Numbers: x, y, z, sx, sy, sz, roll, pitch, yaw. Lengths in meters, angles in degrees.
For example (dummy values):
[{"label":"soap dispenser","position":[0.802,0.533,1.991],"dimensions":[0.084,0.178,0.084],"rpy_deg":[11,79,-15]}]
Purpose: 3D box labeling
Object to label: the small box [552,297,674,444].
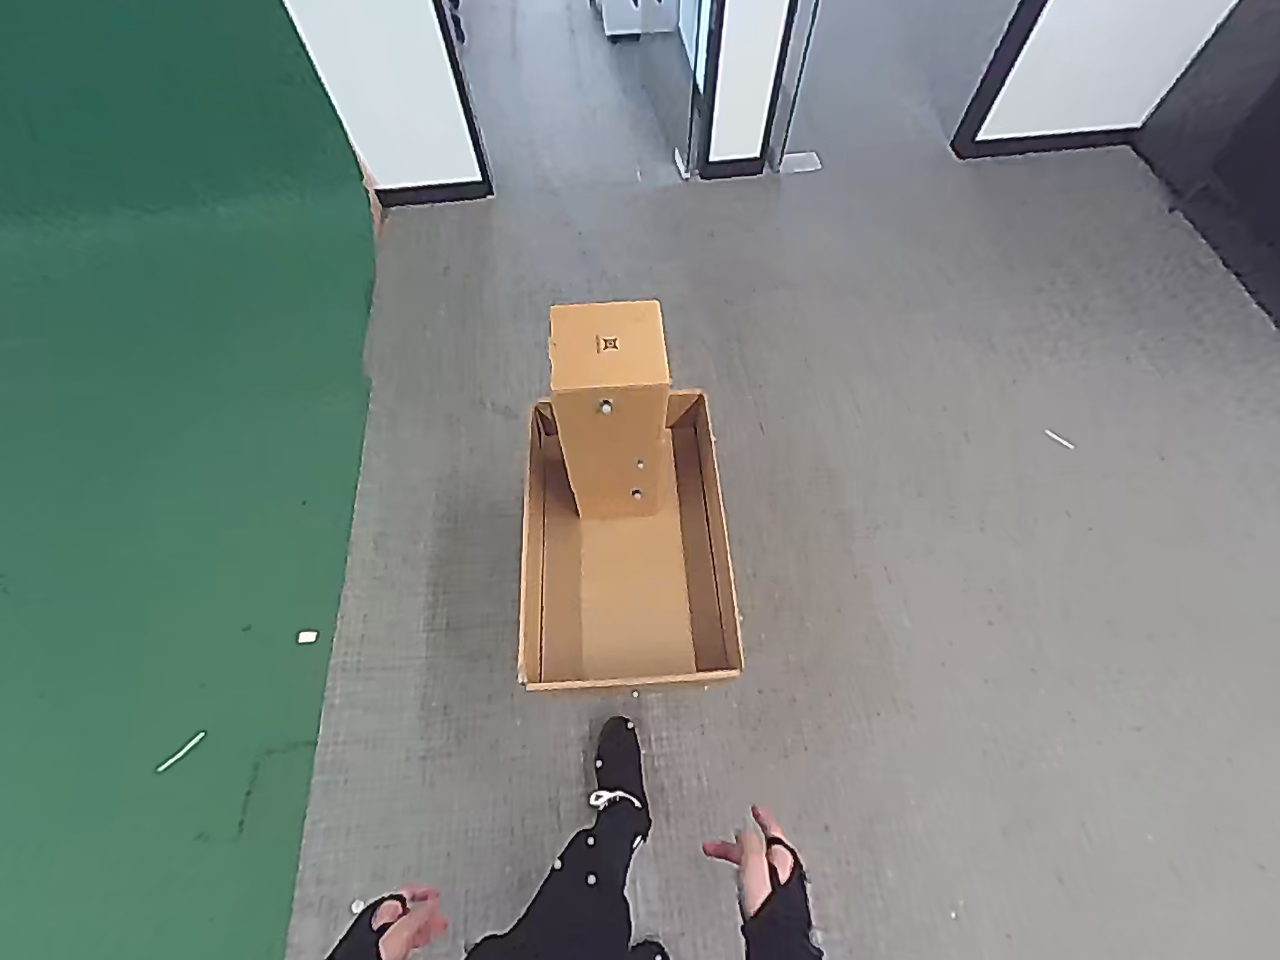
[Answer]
[{"label":"small box","position":[-0.046,-0.171,0.872],"dimensions":[0.179,0.176,0.168],"rpy_deg":[-4,64,-2]}]
